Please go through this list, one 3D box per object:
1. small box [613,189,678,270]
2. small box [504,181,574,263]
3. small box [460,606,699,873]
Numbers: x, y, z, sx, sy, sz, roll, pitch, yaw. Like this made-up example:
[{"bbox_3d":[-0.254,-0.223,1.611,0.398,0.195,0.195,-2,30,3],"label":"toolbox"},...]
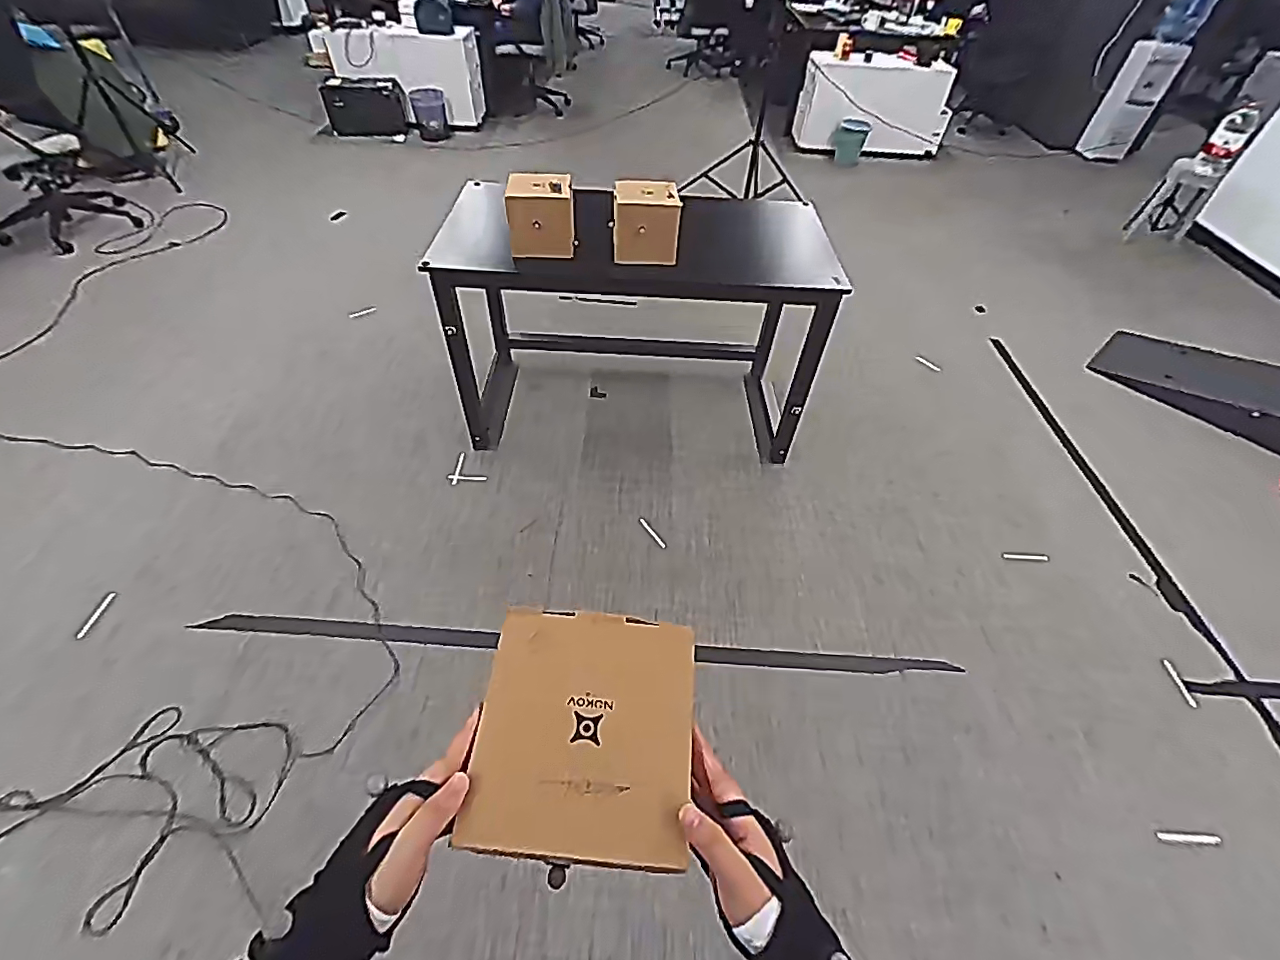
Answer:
[{"bbox_3d":[0.012,-0.721,1.558,0.179,0.176,0.168,-1,48,-4],"label":"small box"},{"bbox_3d":[-0.283,-0.738,1.554,0.179,0.176,0.168,-1,48,-4],"label":"small box"},{"bbox_3d":[-0.044,0.236,0.486,0.168,0.176,0.179,6,53,0],"label":"small box"}]
